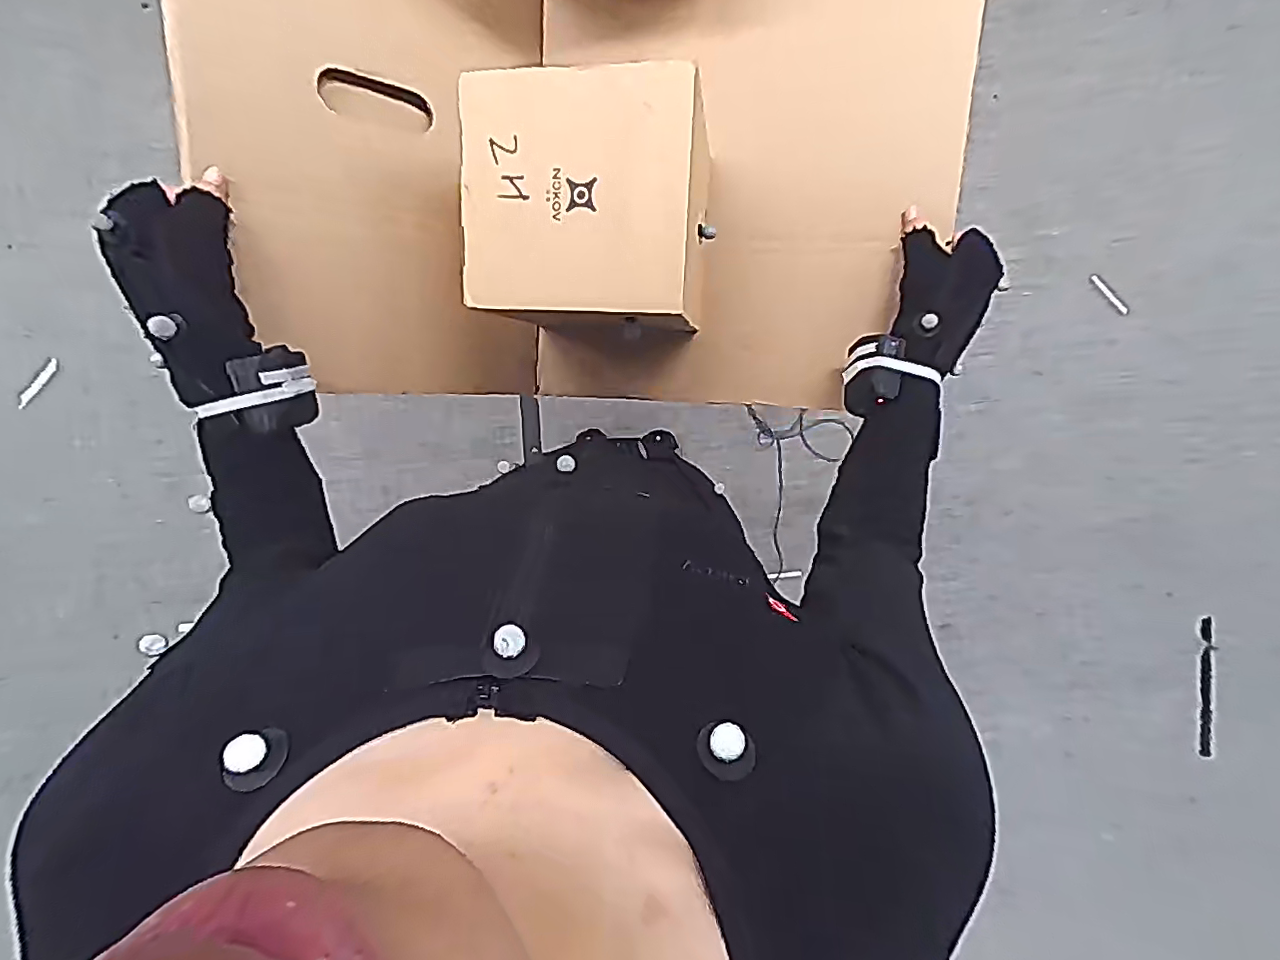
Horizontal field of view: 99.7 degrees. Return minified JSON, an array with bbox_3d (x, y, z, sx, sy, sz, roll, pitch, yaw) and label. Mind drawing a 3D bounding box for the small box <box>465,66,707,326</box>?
[{"bbox_3d":[-0.035,-0.231,0.480,0.179,0.176,0.168,5,102,10],"label":"small box"}]
